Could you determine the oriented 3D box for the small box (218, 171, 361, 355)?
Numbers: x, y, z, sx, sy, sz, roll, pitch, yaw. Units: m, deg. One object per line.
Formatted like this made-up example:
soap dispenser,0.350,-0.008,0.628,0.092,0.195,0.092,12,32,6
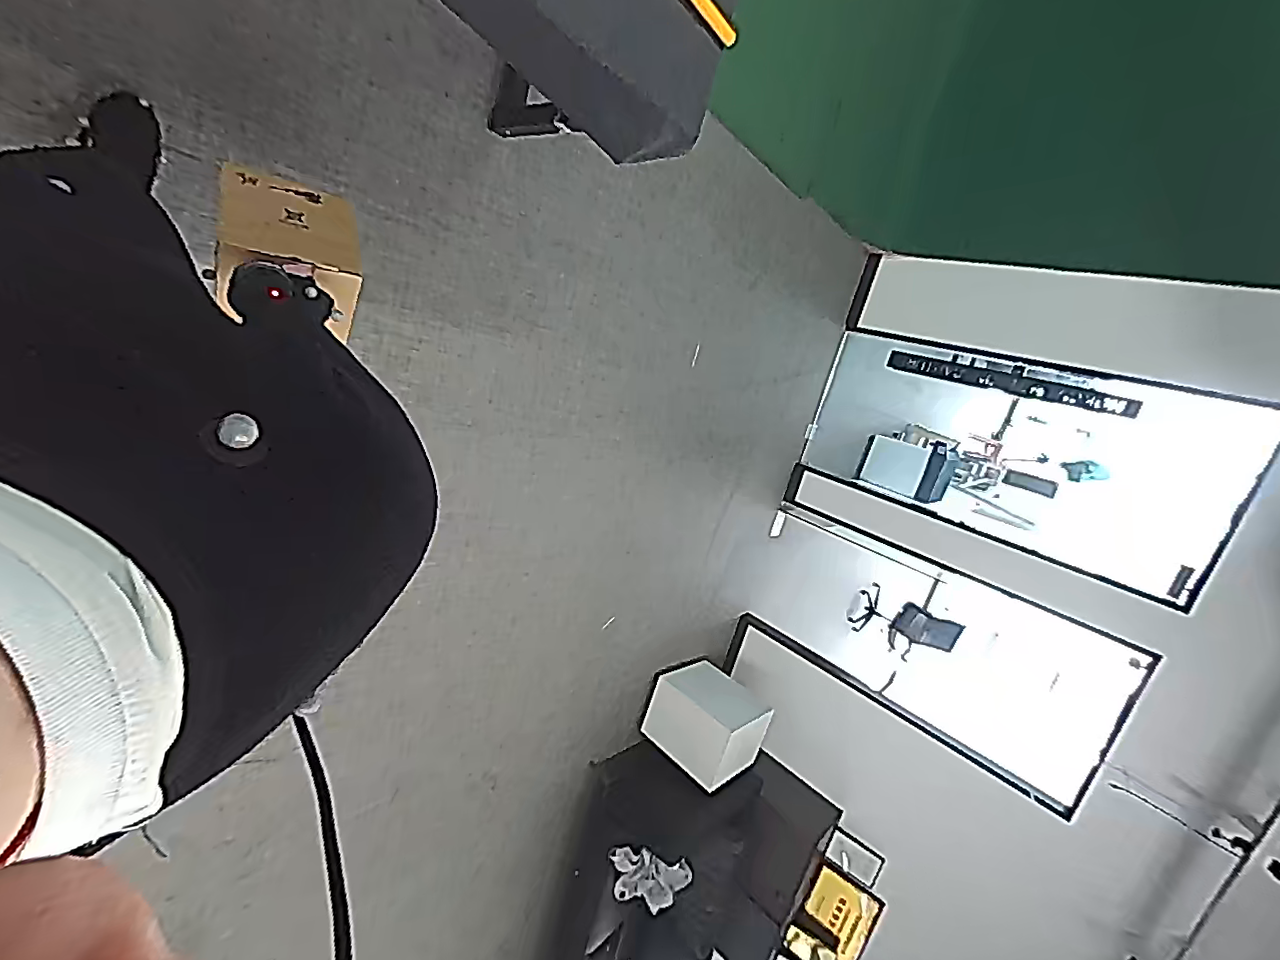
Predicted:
small box,-0.529,-0.312,0.813,0.168,0.179,0.176,-1,148,-38
